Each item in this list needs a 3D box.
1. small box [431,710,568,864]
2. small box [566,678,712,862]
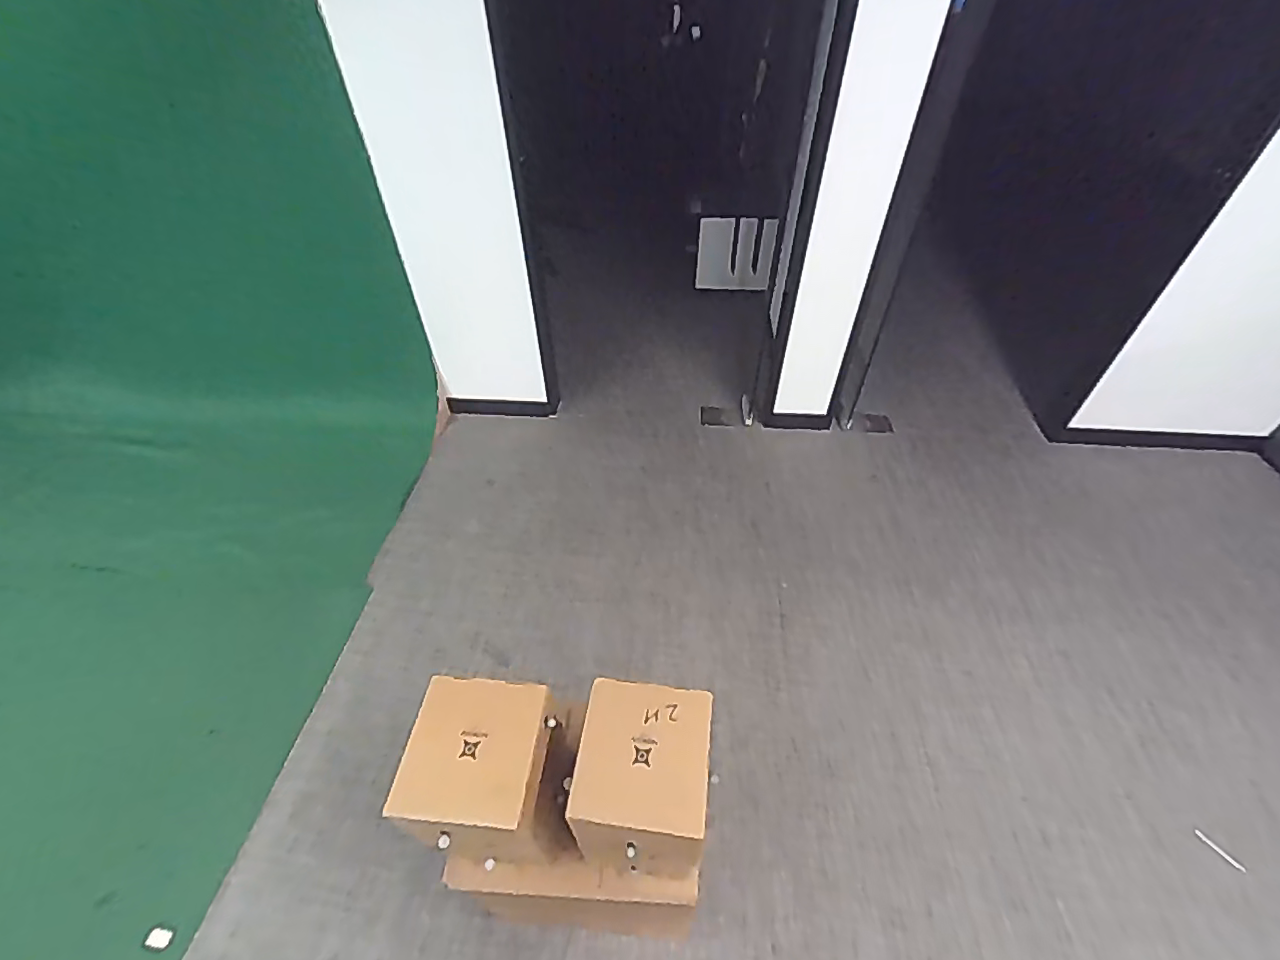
[{"bbox_3d":[-0.215,0.505,0.888,0.168,0.176,0.179,5,48,4],"label":"small box"},{"bbox_3d":[0.008,0.404,0.749,0.168,0.176,0.179,6,47,8],"label":"small box"}]
